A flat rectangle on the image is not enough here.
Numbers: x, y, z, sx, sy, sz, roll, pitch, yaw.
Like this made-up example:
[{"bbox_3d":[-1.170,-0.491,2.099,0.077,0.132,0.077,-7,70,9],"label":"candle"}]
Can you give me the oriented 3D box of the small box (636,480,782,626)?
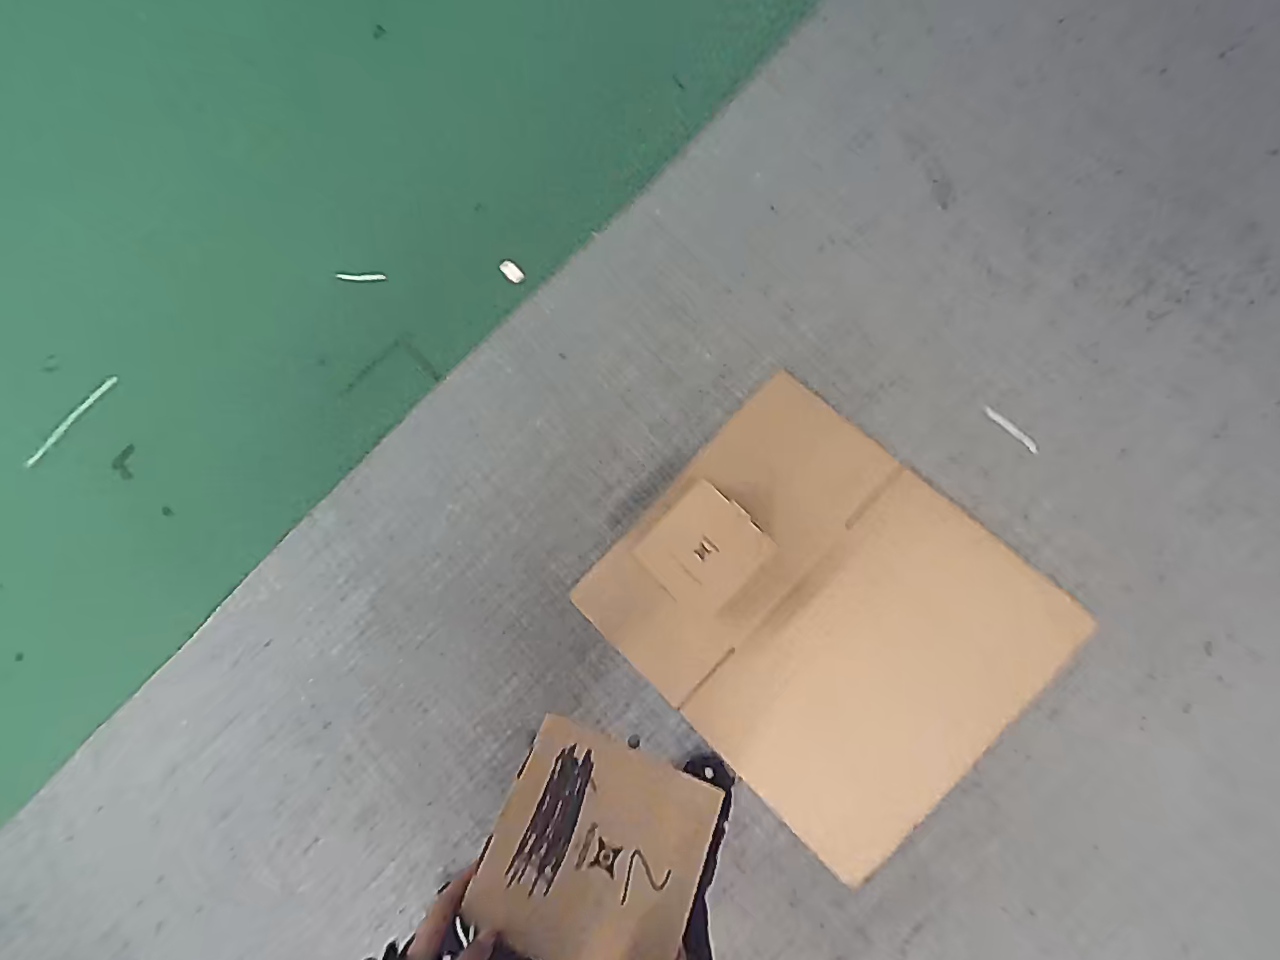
[{"bbox_3d":[0.120,0.125,0.937,0.168,0.176,0.179,44,91,14],"label":"small box"}]
